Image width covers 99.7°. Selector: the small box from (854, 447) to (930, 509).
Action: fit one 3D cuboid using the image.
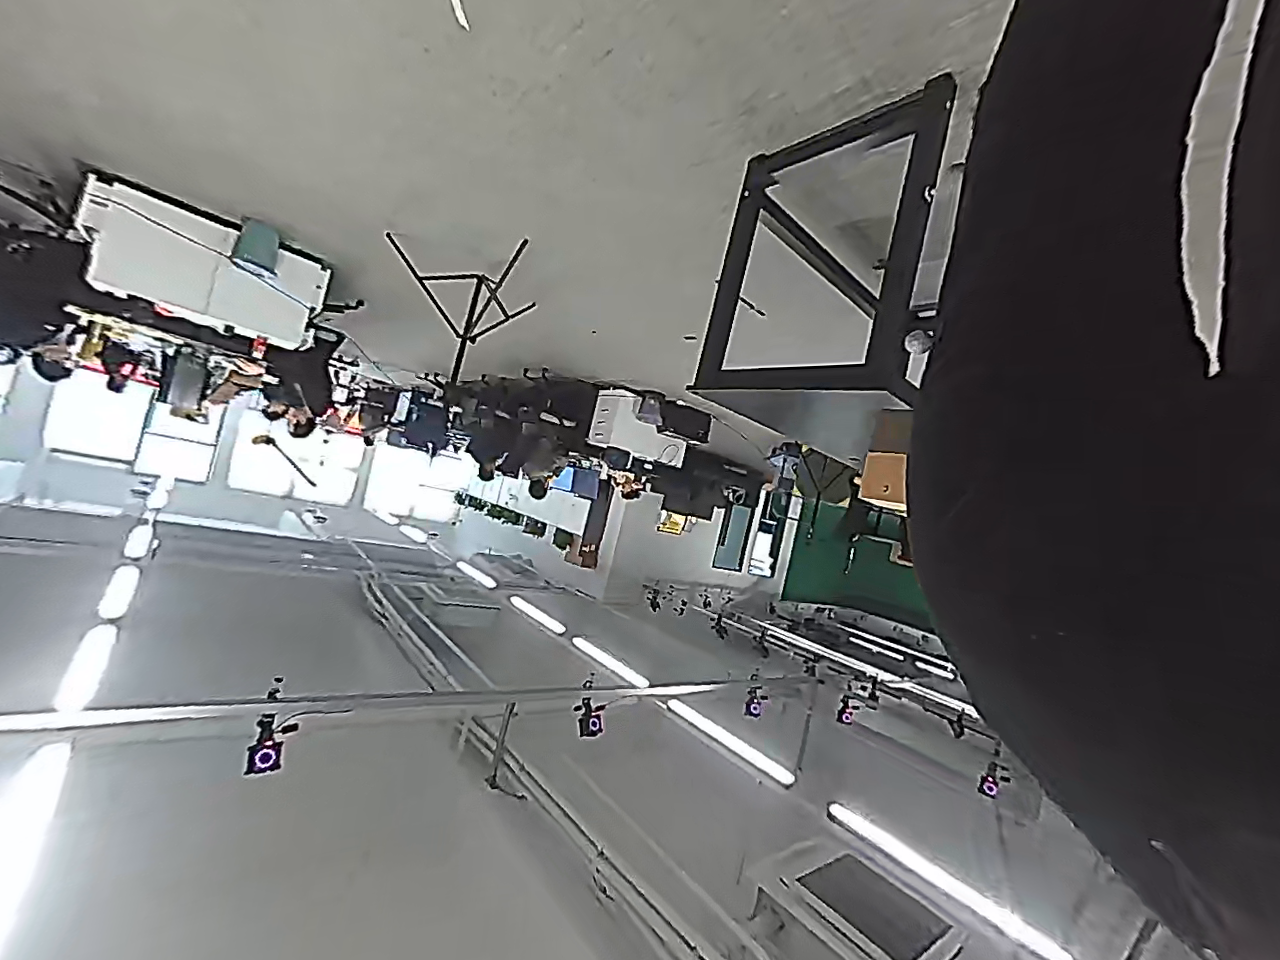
[{"bbox_3d":[0.862,-0.010,1.838,0.168,0.176,0.179,17,177,-40],"label":"small box"}]
